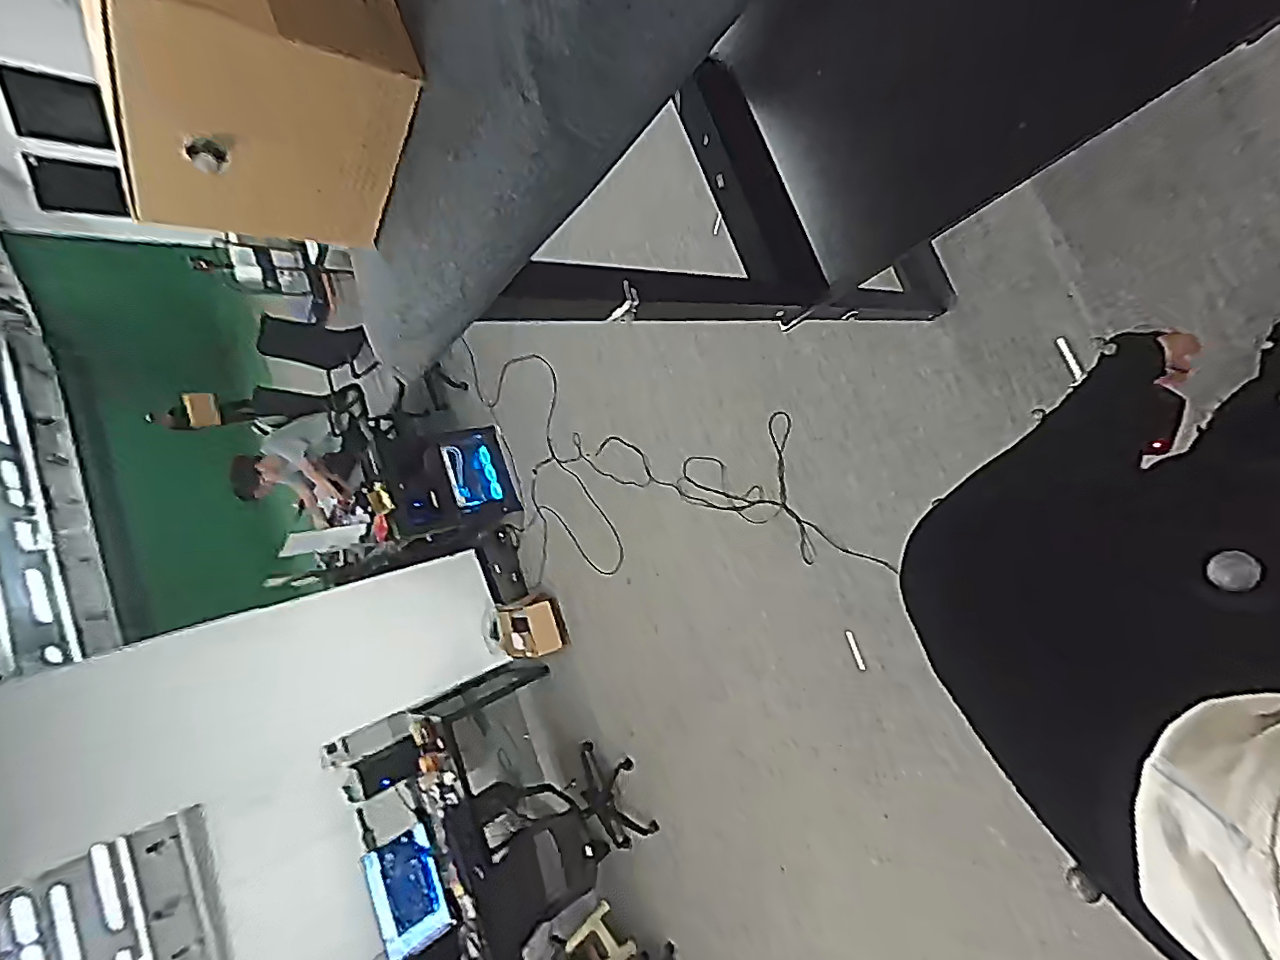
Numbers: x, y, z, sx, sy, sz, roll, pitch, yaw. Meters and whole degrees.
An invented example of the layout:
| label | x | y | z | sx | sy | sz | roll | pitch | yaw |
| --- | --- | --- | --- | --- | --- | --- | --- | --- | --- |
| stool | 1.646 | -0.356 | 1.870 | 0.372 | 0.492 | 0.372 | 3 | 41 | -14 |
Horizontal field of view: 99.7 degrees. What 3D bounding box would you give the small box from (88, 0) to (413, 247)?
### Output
| label | x | y | z | sx | sy | sz | roll | pitch | yaw |
| --- | --- | --- | --- | --- | --- | --- | --- | --- | --- |
| small box | -0.292 | -0.303 | 0.410 | 0.179 | 0.176 | 0.168 | -33 | 75 | 47 |
